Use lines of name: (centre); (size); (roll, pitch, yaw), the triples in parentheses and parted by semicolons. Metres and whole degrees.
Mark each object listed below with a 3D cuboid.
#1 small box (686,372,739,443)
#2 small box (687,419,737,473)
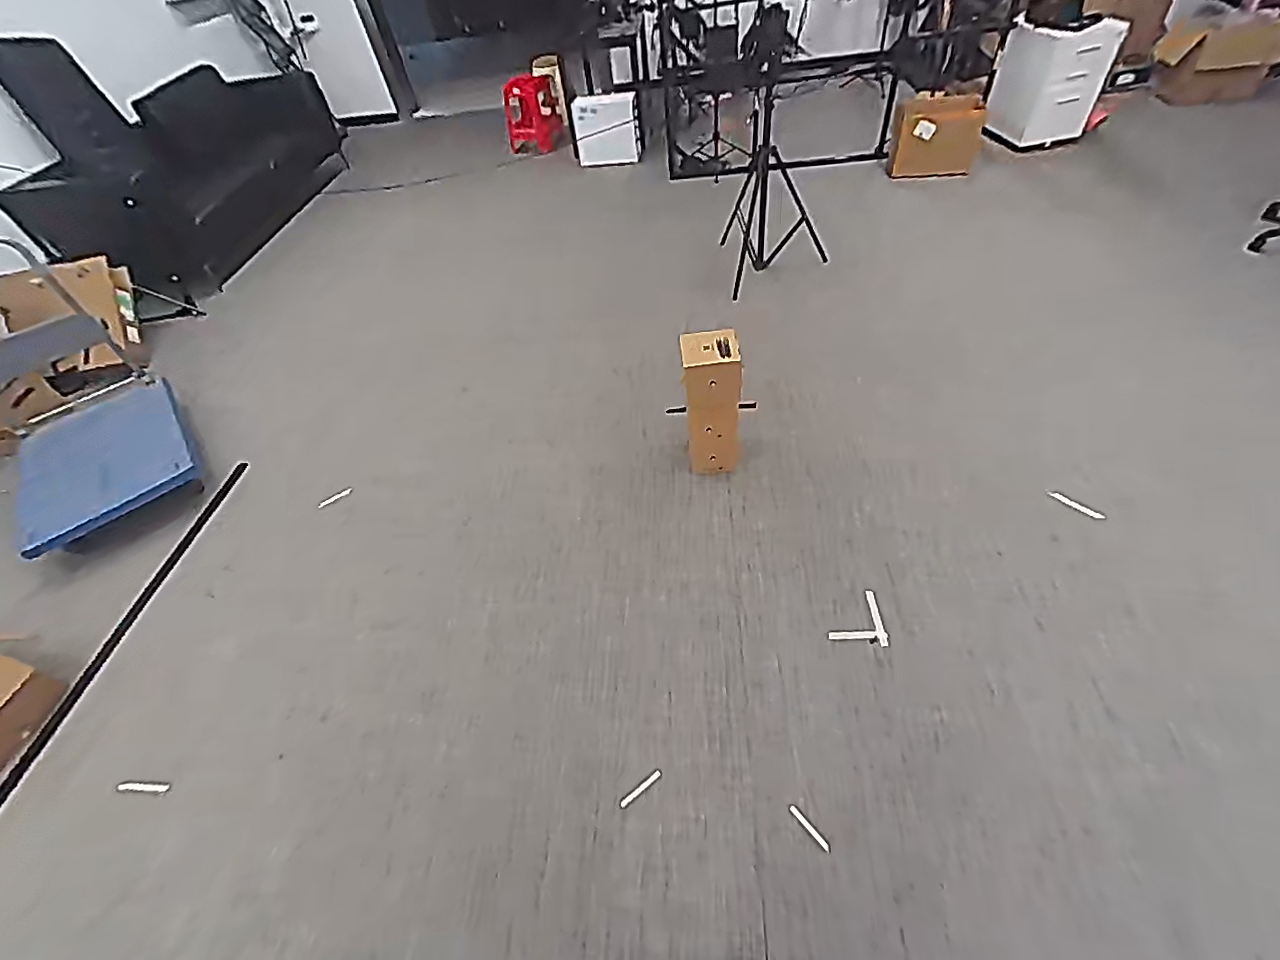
small box: (0.244, -0.246, 1.847); (0.168, 0.176, 0.179); (-4, 49, 5)
small box: (0.263, -0.138, 1.968); (0.168, 0.176, 0.179); (-5, 48, 4)
